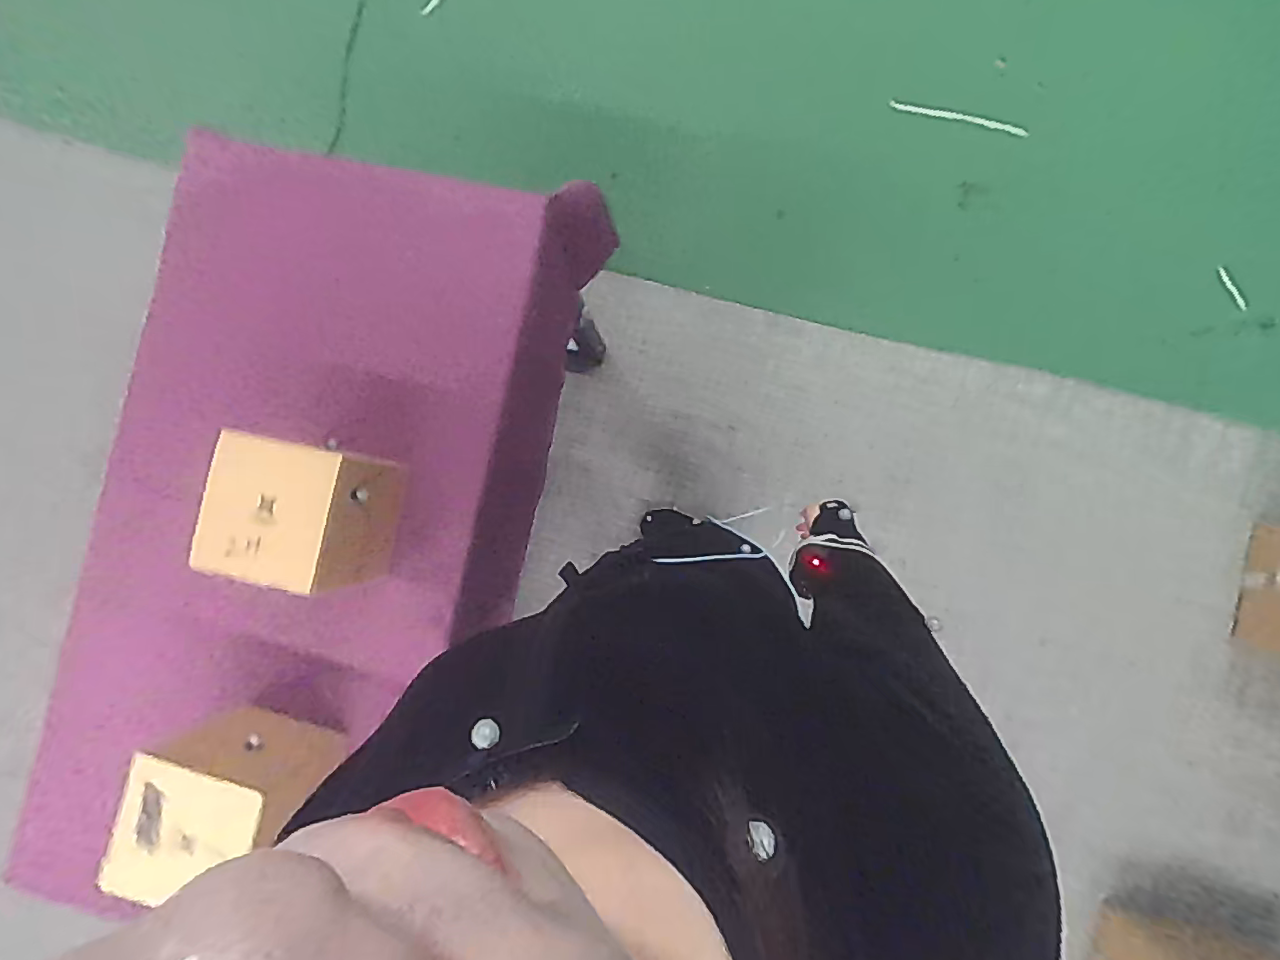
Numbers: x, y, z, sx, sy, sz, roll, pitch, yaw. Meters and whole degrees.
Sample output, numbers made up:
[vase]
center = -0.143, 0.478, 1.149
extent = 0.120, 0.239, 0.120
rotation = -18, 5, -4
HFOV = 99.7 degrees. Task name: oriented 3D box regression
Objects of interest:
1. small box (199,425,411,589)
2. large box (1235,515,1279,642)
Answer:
[small box]
center = -0.443, 0.036, 0.745
extent = 0.168, 0.176, 0.179
rotation = 11, 89, 6
[large box]
center = 1.715, 0.264, 1.215
extent = 0.408, 0.320, 0.320
rotation = 14, 88, 4
